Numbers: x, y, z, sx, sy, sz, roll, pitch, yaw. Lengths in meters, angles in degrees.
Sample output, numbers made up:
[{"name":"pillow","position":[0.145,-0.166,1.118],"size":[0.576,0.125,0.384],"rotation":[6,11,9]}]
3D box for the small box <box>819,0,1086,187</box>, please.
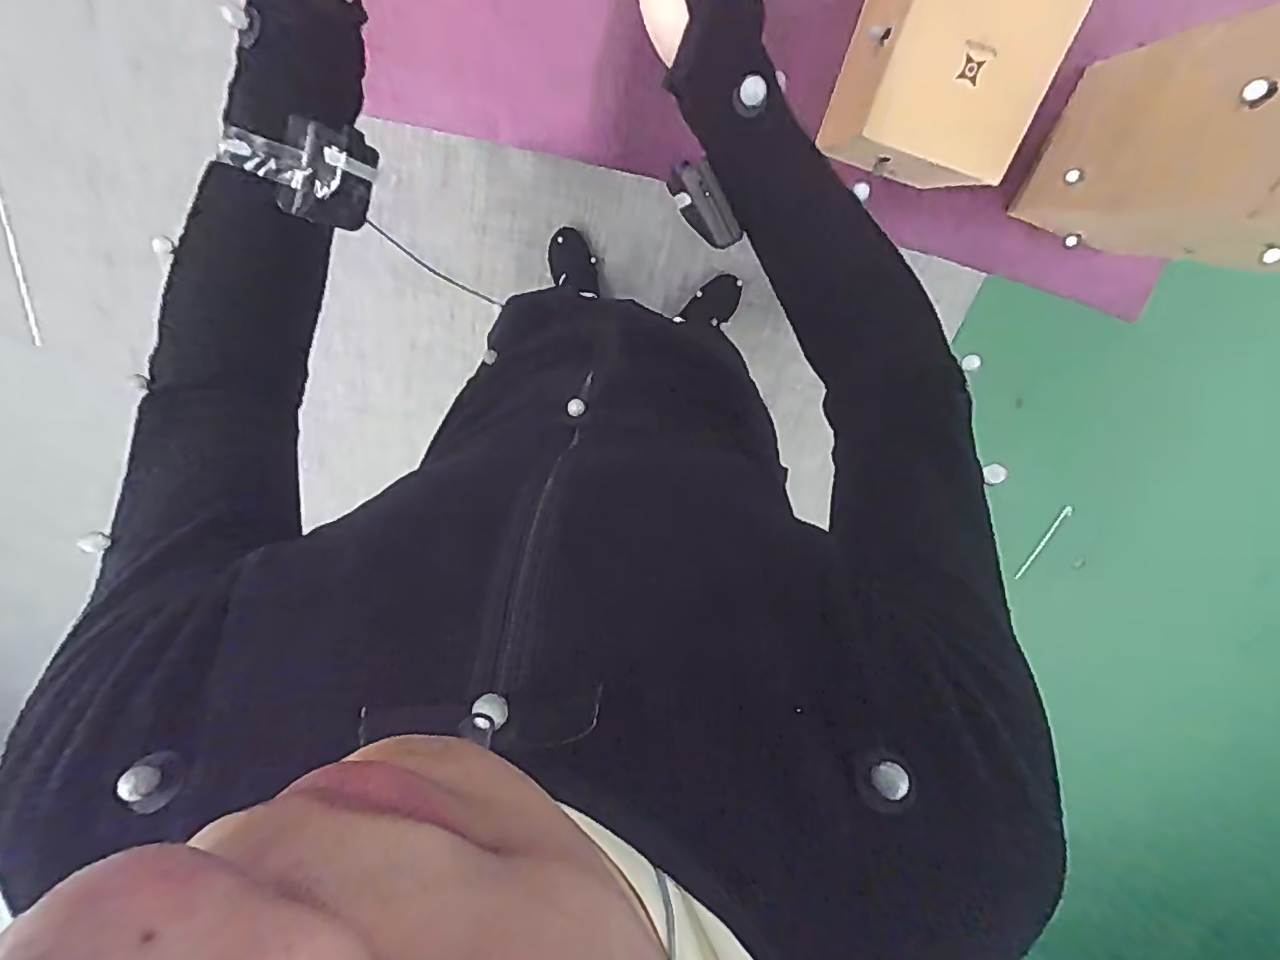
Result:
[{"name":"small box","position":[0.322,-0.445,0.604],"size":[0.168,0.176,0.179],"rotation":[14,115,-7]}]
